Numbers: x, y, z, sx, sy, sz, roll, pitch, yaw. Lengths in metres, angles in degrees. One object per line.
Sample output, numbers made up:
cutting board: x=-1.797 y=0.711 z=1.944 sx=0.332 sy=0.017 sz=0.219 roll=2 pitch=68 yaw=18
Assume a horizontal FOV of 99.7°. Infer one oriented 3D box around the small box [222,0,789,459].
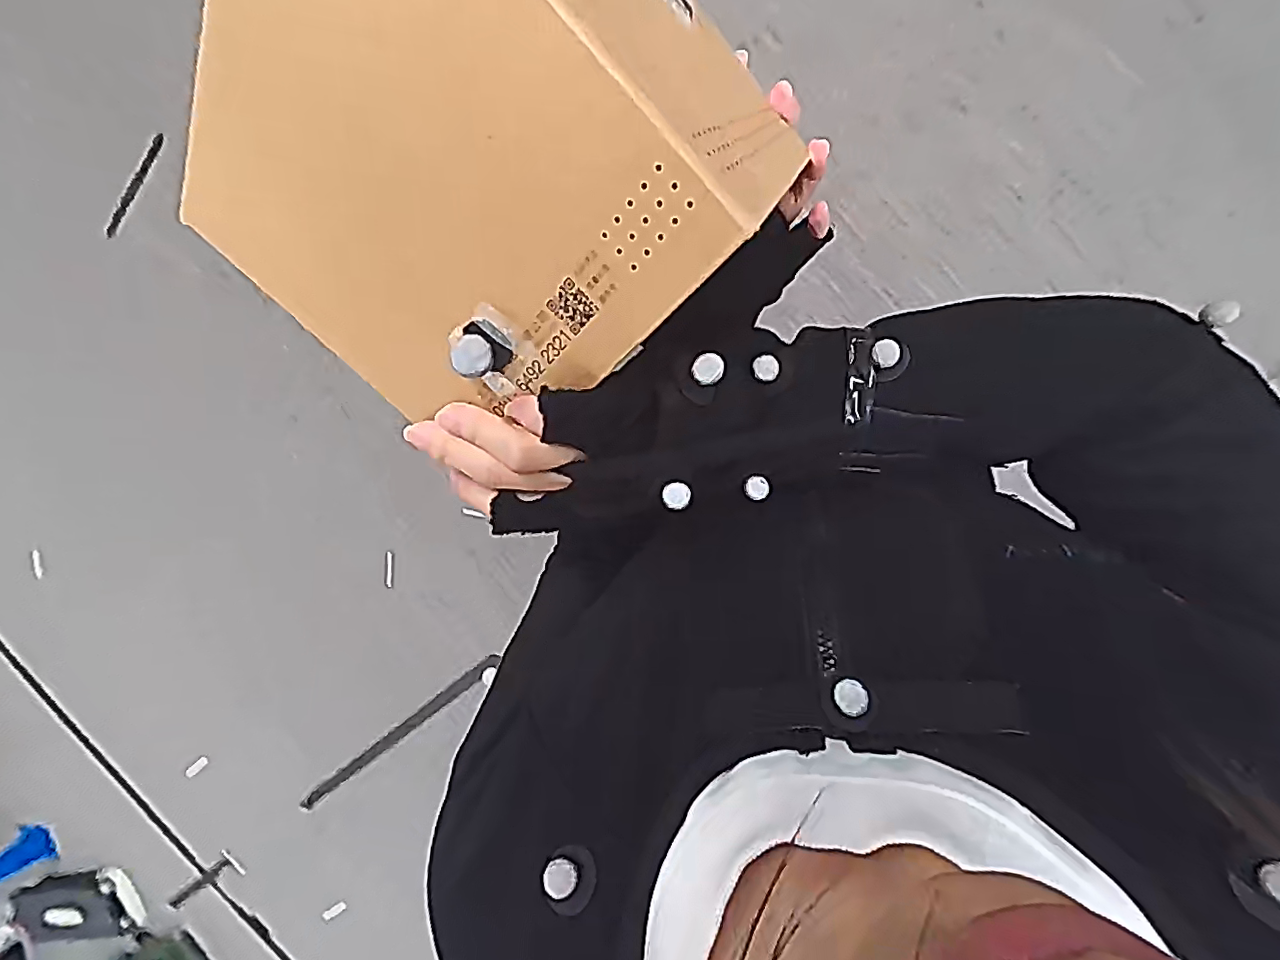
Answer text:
small box: x=-0.048 y=-0.142 z=0.267 sx=0.176 sy=0.179 sz=0.168 roll=43 pitch=130 yaw=-11
